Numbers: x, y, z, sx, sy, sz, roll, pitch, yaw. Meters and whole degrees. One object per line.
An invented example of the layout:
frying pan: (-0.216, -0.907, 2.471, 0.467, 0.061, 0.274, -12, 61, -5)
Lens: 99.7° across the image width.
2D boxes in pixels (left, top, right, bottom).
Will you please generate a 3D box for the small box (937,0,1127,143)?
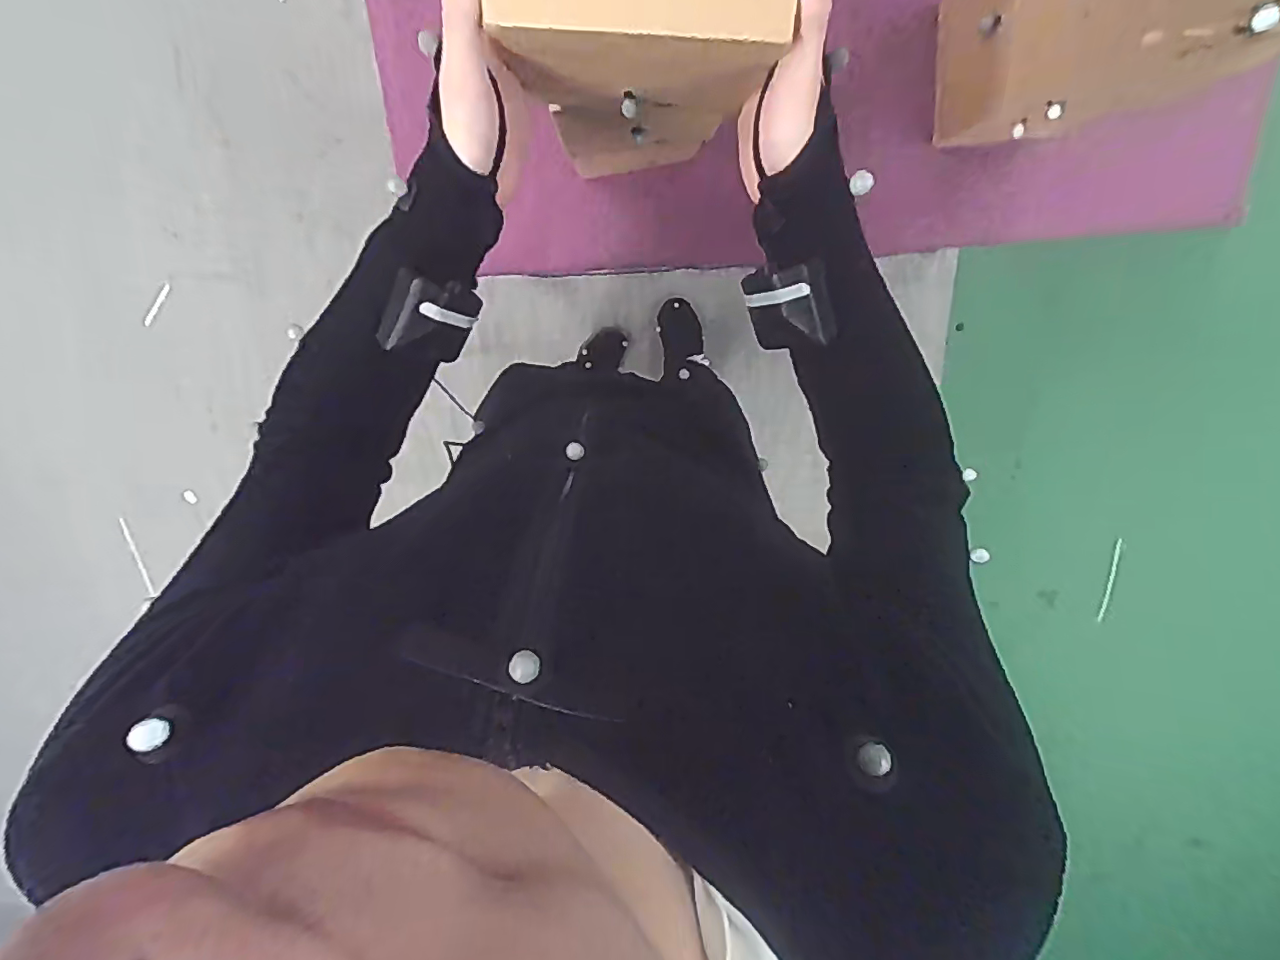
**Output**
small box: (0.482, -0.523, 0.645, 0.168, 0.176, 0.179, -5, 107, 1)

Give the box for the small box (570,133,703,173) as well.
small box: (-0.015, -0.491, 0.643, 0.168, 0.176, 0.179, -9, 108, 2)

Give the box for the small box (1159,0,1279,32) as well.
small box: (0.487, -0.422, 0.334, 0.168, 0.176, 0.179, -2, 107, 0)

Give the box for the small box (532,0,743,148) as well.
small box: (-0.008, -0.422, 0.492, 0.168, 0.176, 0.179, -8, 108, 0)
